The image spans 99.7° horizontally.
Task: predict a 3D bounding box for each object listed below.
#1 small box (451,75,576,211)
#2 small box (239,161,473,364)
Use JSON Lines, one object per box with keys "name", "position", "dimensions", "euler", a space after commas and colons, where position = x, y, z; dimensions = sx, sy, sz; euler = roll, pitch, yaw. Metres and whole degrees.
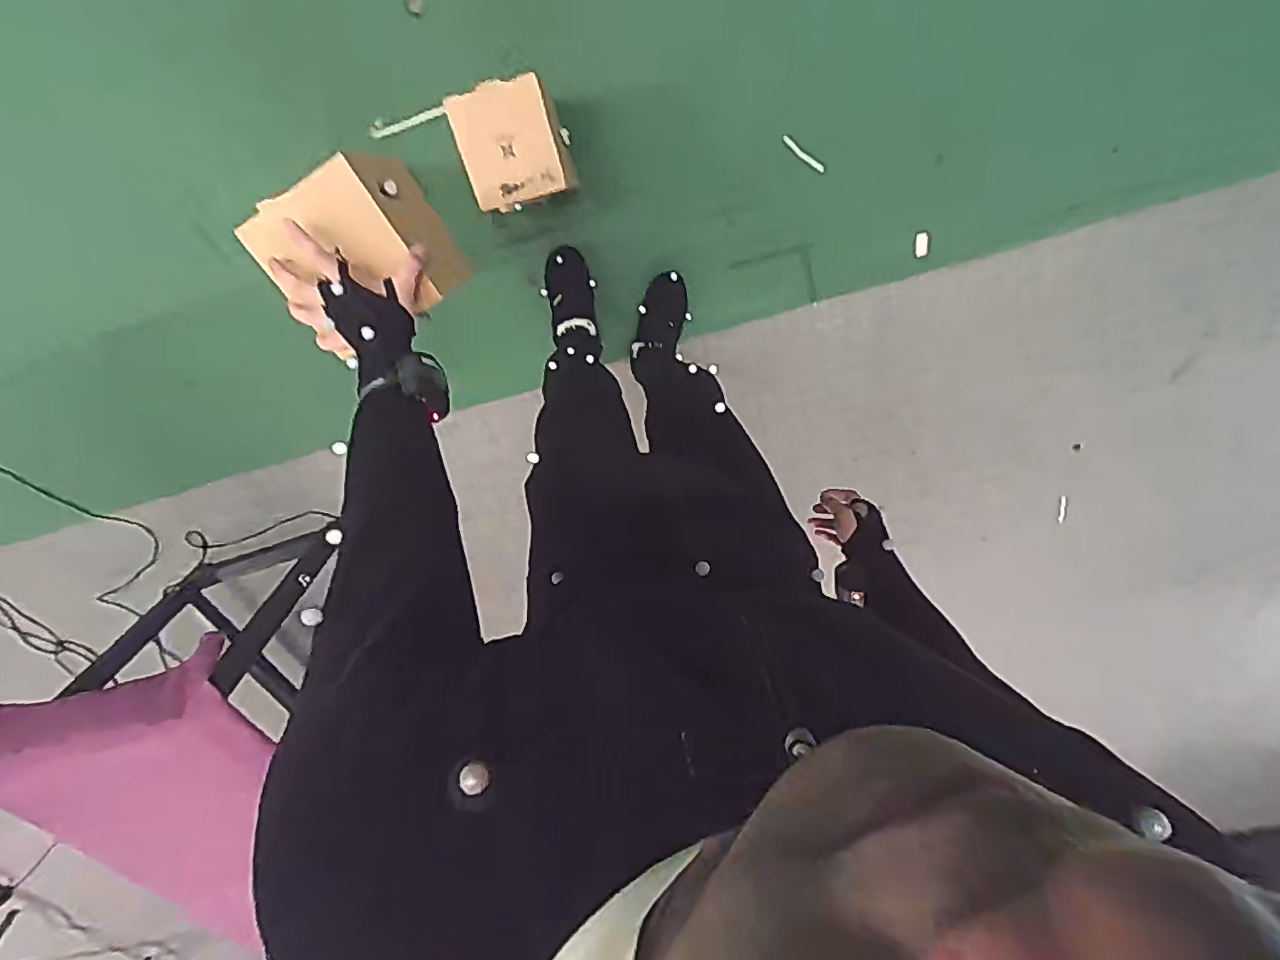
{"name": "small box", "position": [-0.224, -0.616, 1.006], "dimensions": [0.168, 0.176, 0.179], "euler": [-12, 119, 6]}
{"name": "small box", "position": [-0.351, -0.284, 0.707], "dimensions": [0.168, 0.176, 0.179], "euler": [-26, 116, 14]}
